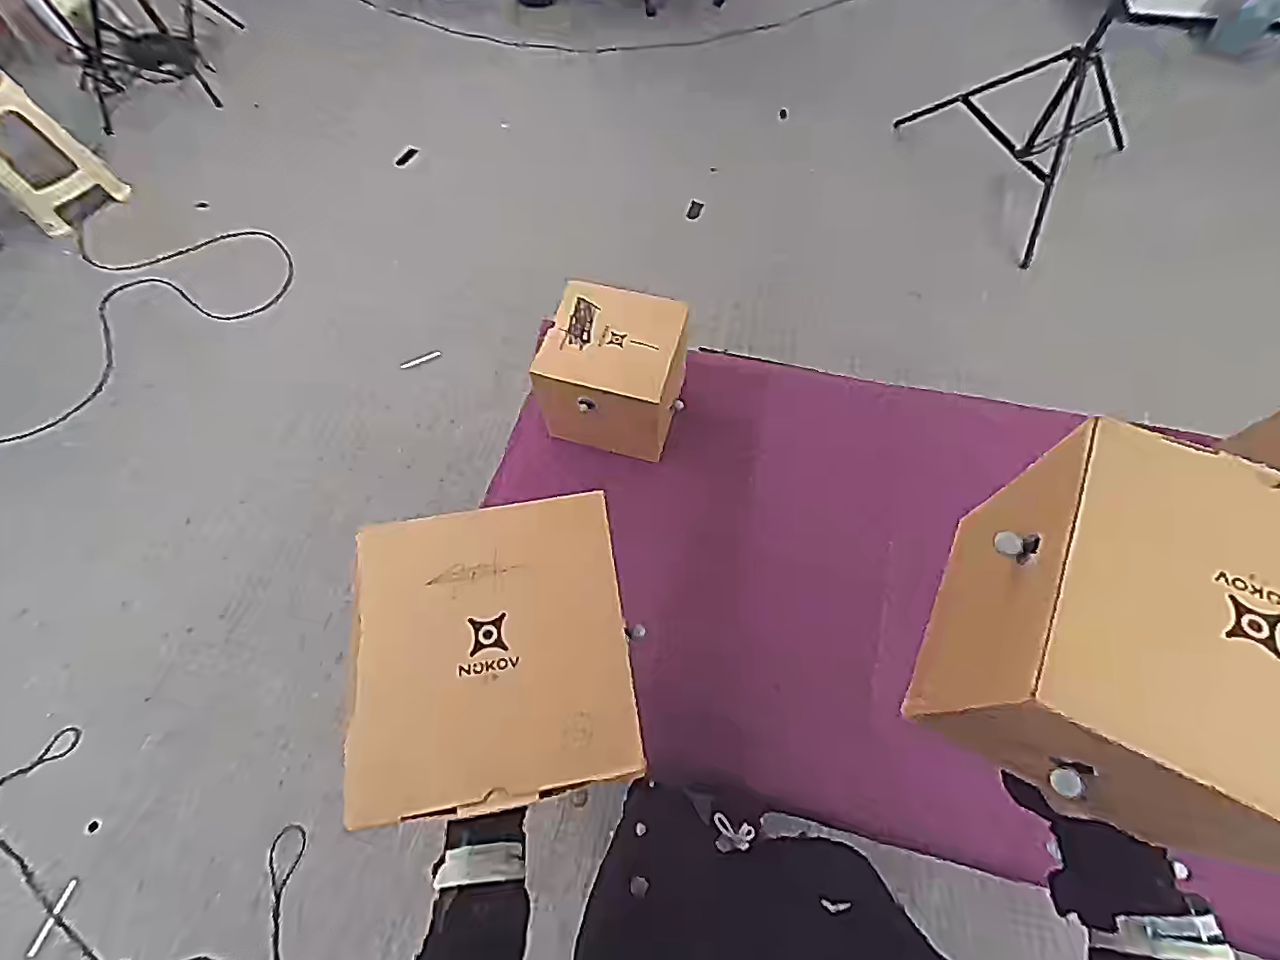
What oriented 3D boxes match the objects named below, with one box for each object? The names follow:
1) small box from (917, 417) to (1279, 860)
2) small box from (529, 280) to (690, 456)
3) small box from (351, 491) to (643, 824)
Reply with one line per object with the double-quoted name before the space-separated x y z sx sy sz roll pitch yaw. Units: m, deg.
"small box" 0.296 0.100 0.328 0.168 0.176 0.179 25 68 15
"small box" -0.036 -0.154 0.782 0.179 0.176 0.168 15 67 7
"small box" -0.091 0.129 0.403 0.168 0.176 0.179 -8 65 -6
